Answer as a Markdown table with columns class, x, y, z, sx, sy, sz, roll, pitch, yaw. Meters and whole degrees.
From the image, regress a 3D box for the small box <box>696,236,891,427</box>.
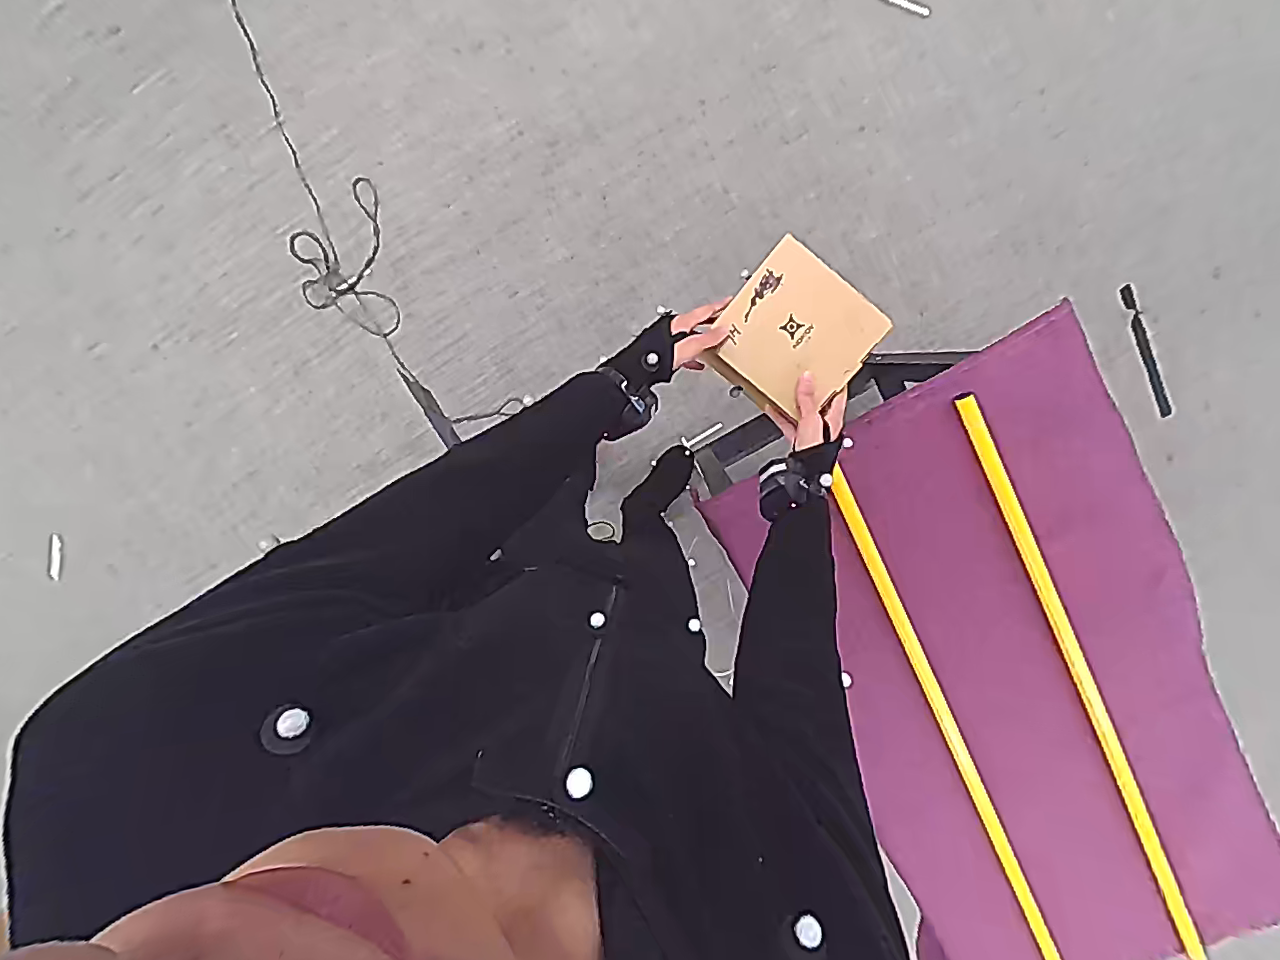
| class | x | y | z | sx | sy | sz | roll | pitch | yaw |
| --- | --- | --- | --- | --- | --- | --- | --- | --- | --- |
| small box | 0.195 | -0.195 | 0.744 | 0.179 | 0.176 | 0.168 | 40 | 99 | -4 |
